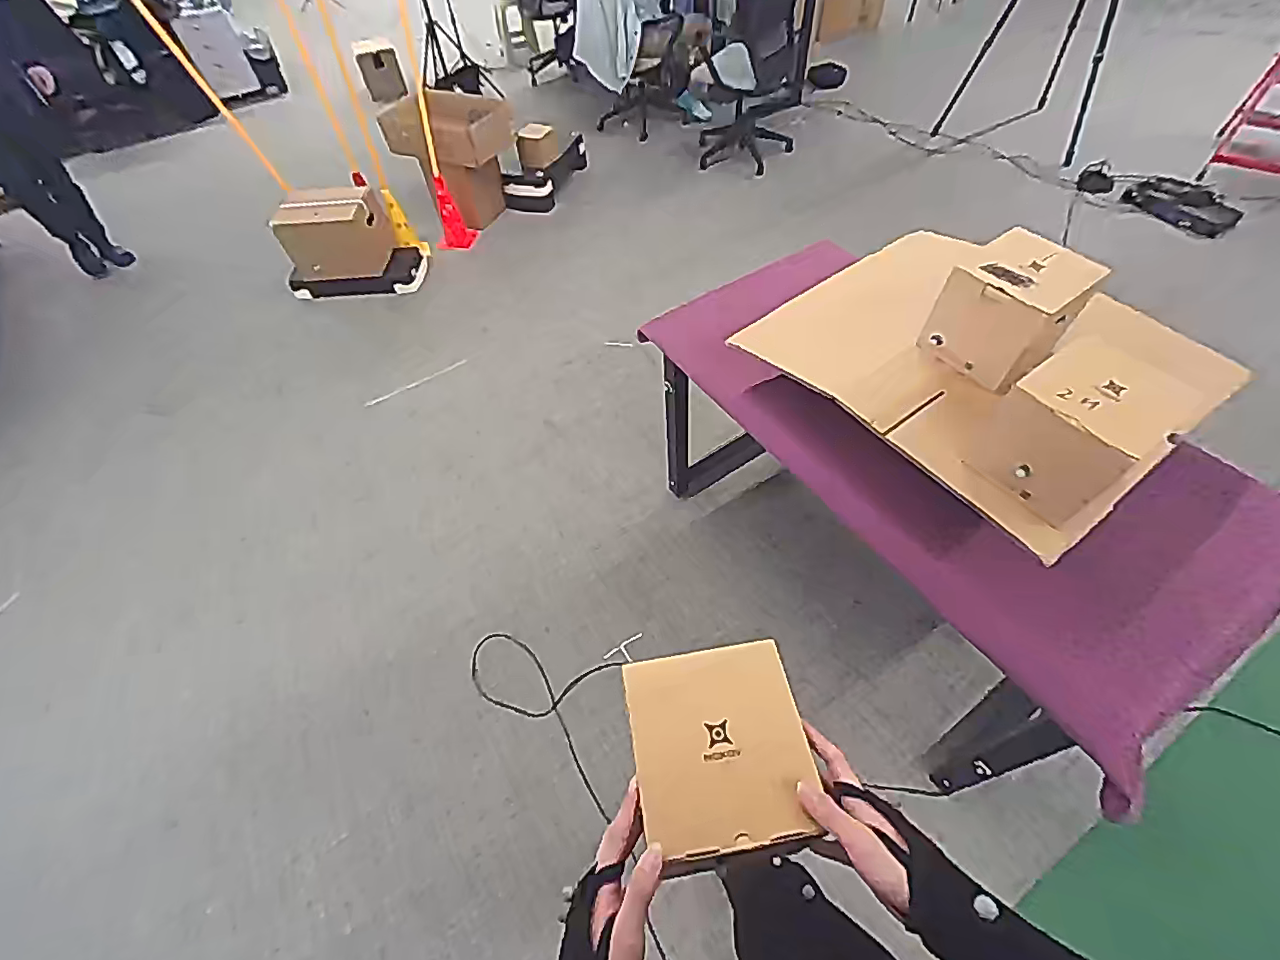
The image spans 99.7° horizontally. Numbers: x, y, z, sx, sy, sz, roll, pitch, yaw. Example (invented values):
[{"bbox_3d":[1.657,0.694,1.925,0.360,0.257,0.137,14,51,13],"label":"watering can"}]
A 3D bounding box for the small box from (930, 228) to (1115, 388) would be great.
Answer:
[{"bbox_3d":[0.630,-0.288,0.920,0.179,0.176,0.168,-32,60,-18],"label":"small box"}]

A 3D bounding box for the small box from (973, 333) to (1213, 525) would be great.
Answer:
[{"bbox_3d":[0.623,-0.069,0.770,0.179,0.176,0.168,-31,59,-17],"label":"small box"}]

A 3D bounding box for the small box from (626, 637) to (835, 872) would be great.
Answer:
[{"bbox_3d":[0.077,0.291,0.572,0.168,0.176,0.179,-8,52,-4],"label":"small box"}]
